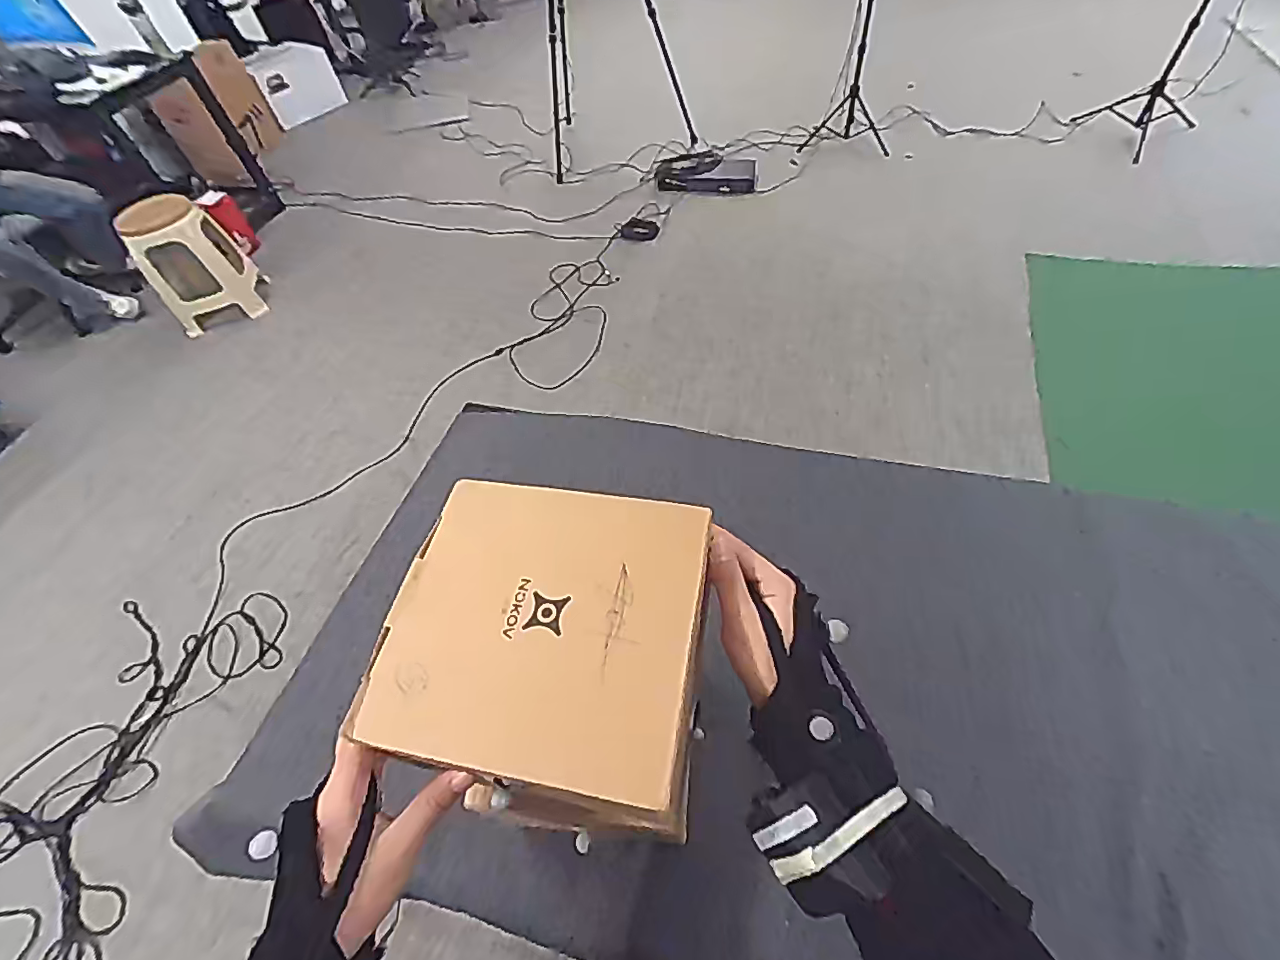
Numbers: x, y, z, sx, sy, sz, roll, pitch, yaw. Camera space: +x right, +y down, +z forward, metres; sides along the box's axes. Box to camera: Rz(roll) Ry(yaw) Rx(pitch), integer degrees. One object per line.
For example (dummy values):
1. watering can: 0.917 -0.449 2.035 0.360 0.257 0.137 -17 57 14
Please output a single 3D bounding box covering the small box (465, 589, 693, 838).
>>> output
1. small box: -0.037 0.222 0.512 0.168 0.176 0.179 1 55 9
